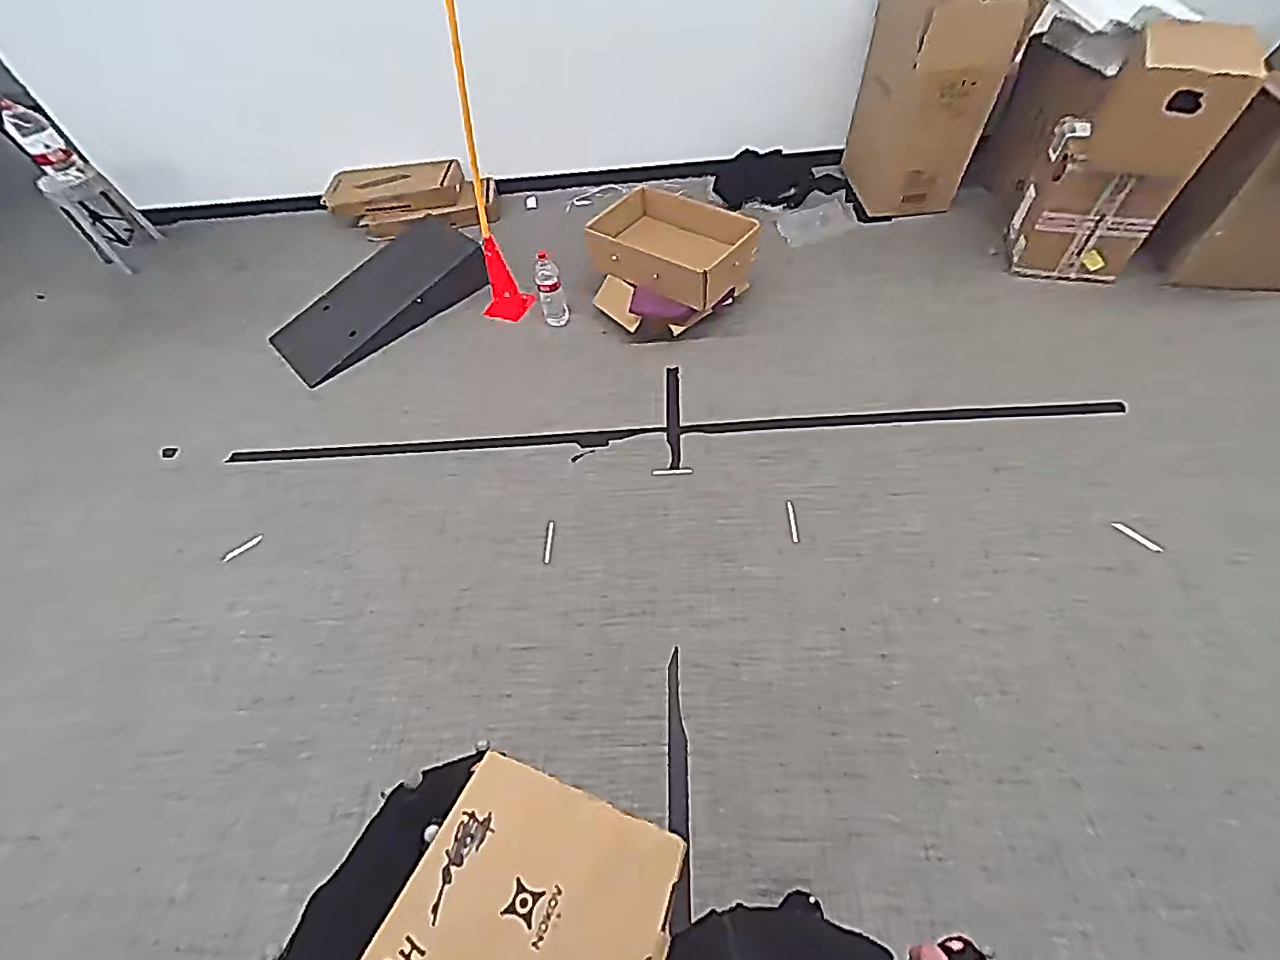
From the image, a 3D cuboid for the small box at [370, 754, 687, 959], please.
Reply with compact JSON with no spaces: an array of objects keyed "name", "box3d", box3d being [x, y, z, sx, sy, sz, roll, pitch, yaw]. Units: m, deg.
[{"name":"small box","box3d":[-0.083,0.360,0.421,0.179,0.176,0.168,19,37,10]}]
